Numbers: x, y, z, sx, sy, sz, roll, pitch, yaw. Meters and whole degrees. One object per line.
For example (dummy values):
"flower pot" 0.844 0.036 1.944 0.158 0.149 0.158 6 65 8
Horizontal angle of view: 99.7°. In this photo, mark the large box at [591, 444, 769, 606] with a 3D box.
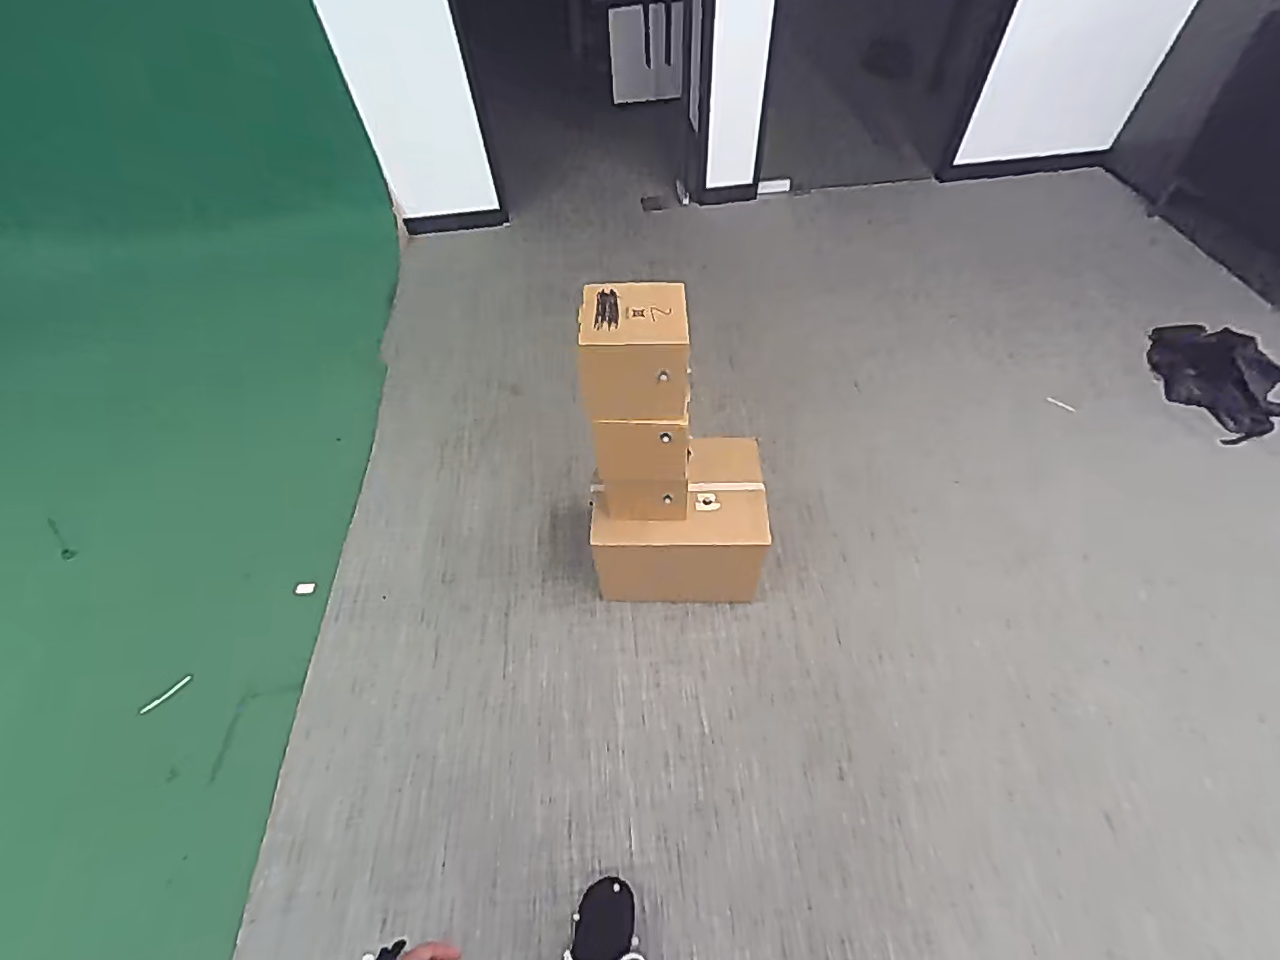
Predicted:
"large box" 0.089 0.122 1.398 0.408 0.320 0.320 0 54 1

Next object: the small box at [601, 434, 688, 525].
"small box" 0.013 -0.012 1.199 0.179 0.176 0.168 -1 52 3

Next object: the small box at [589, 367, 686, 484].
"small box" 0.001 -0.105 1.066 0.179 0.176 0.168 2 52 2
